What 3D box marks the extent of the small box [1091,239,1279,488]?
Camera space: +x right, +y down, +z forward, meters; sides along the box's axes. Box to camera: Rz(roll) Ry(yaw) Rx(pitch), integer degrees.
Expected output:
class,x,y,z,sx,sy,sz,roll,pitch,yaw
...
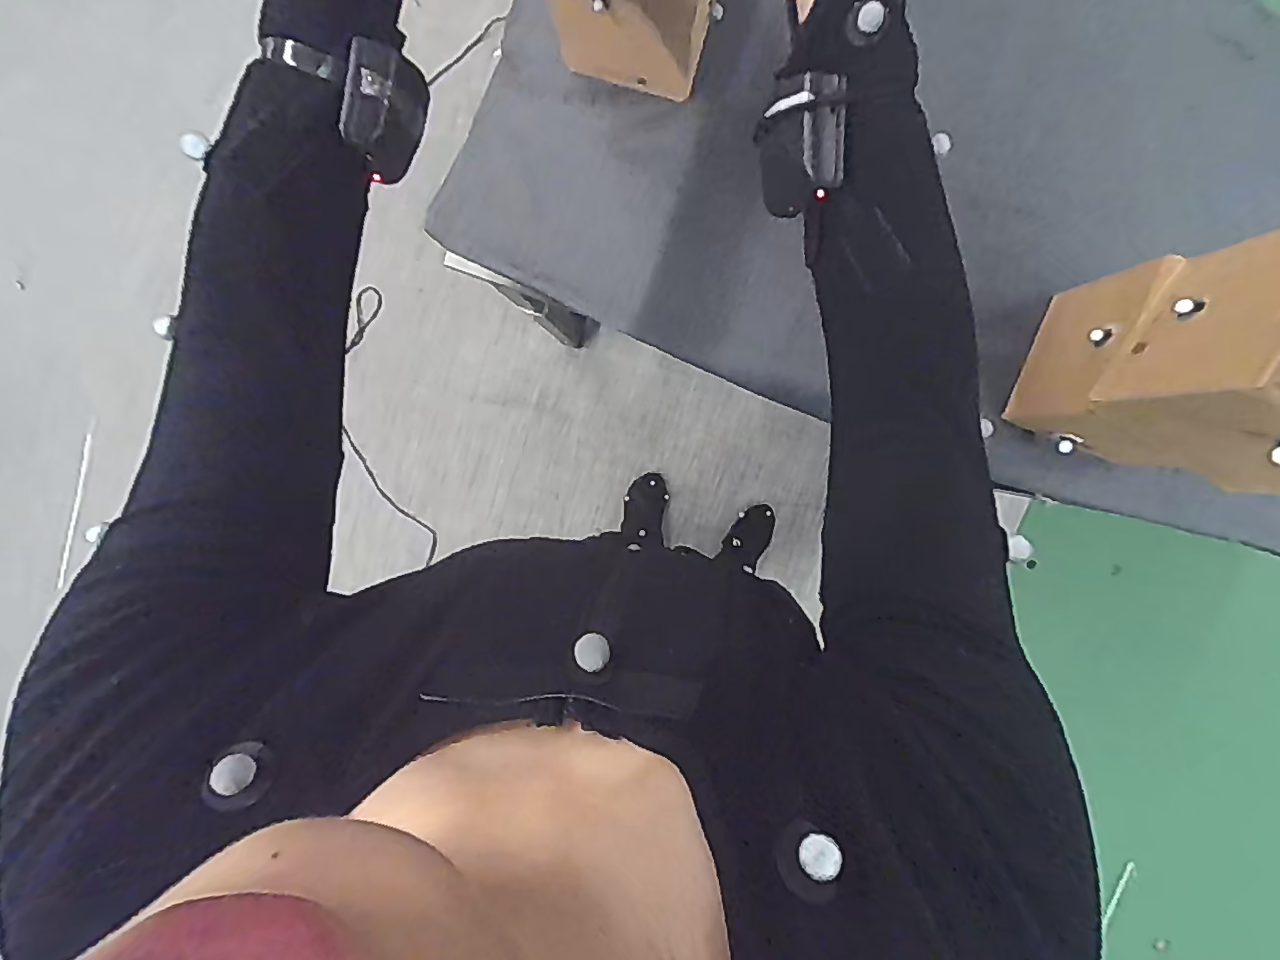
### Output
class,x,y,z,sx,sy,sz,roll,pitch,yaw
small box,0.565,-0.098,0.465,0.179,0.176,0.168,31,95,1

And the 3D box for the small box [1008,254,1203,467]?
class,x,y,z,sx,sy,sz,roll,pitch,yaw
small box,0.577,-0.125,0.626,0.168,0.176,0.179,20,96,1

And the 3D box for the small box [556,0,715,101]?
class,x,y,z,sx,sy,sz,roll,pitch,yaw
small box,0.002,-0.582,0.608,0.168,0.176,0.179,16,96,1

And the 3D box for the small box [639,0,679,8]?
class,x,y,z,sx,sy,sz,roll,pitch,yaw
small box,-0.009,-0.549,0.446,0.179,0.176,0.168,17,97,1
